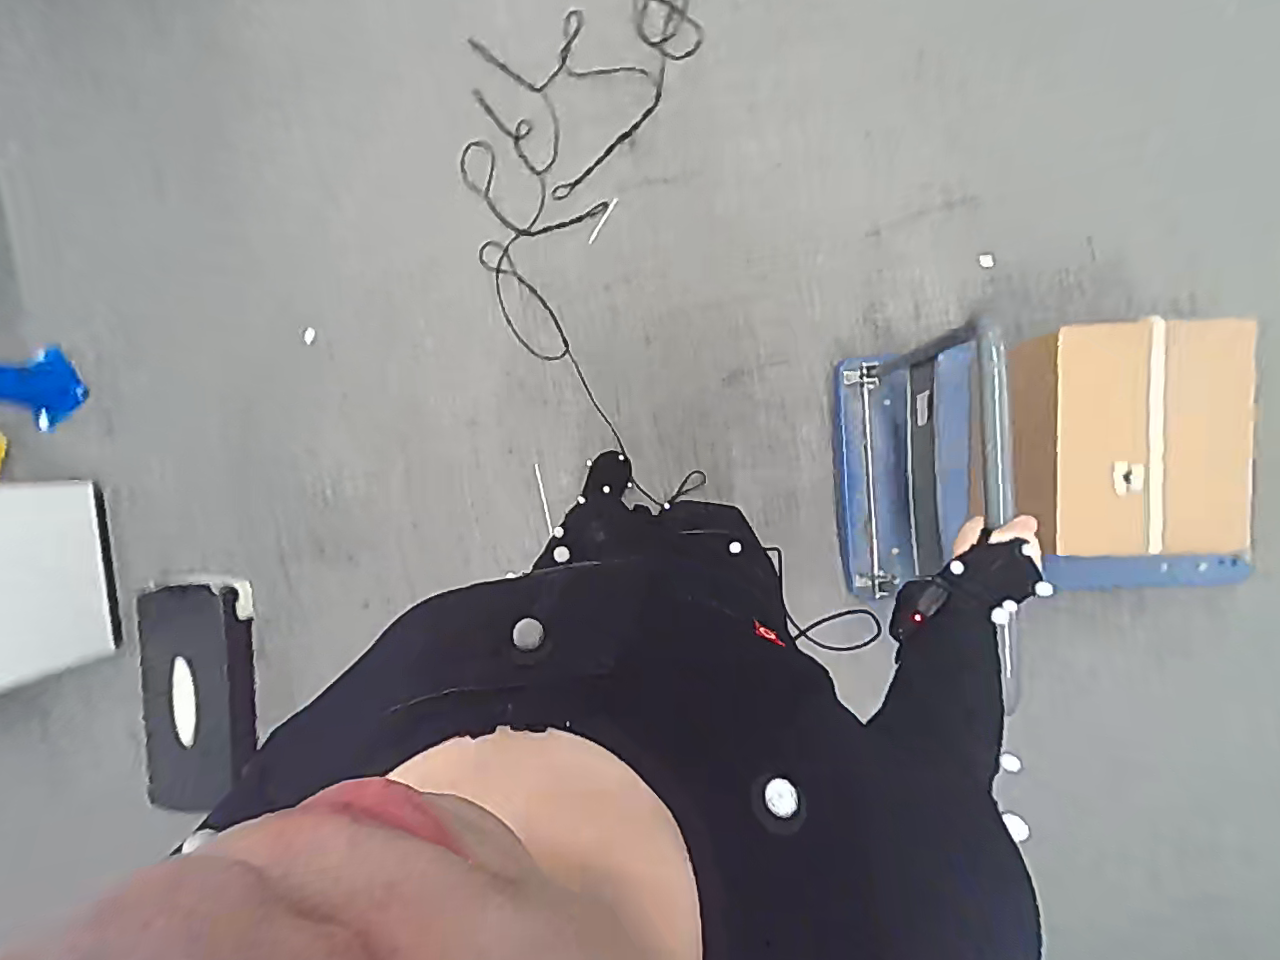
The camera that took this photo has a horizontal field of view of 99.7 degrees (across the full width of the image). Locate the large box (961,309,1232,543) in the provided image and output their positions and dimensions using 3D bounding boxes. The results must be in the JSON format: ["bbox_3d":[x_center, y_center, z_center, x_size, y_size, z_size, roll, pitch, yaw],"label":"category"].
[{"bbox_3d":[0.890,-0.101,1.100,0.320,0.320,0.408,-2,93,6],"label":"large box"}]
